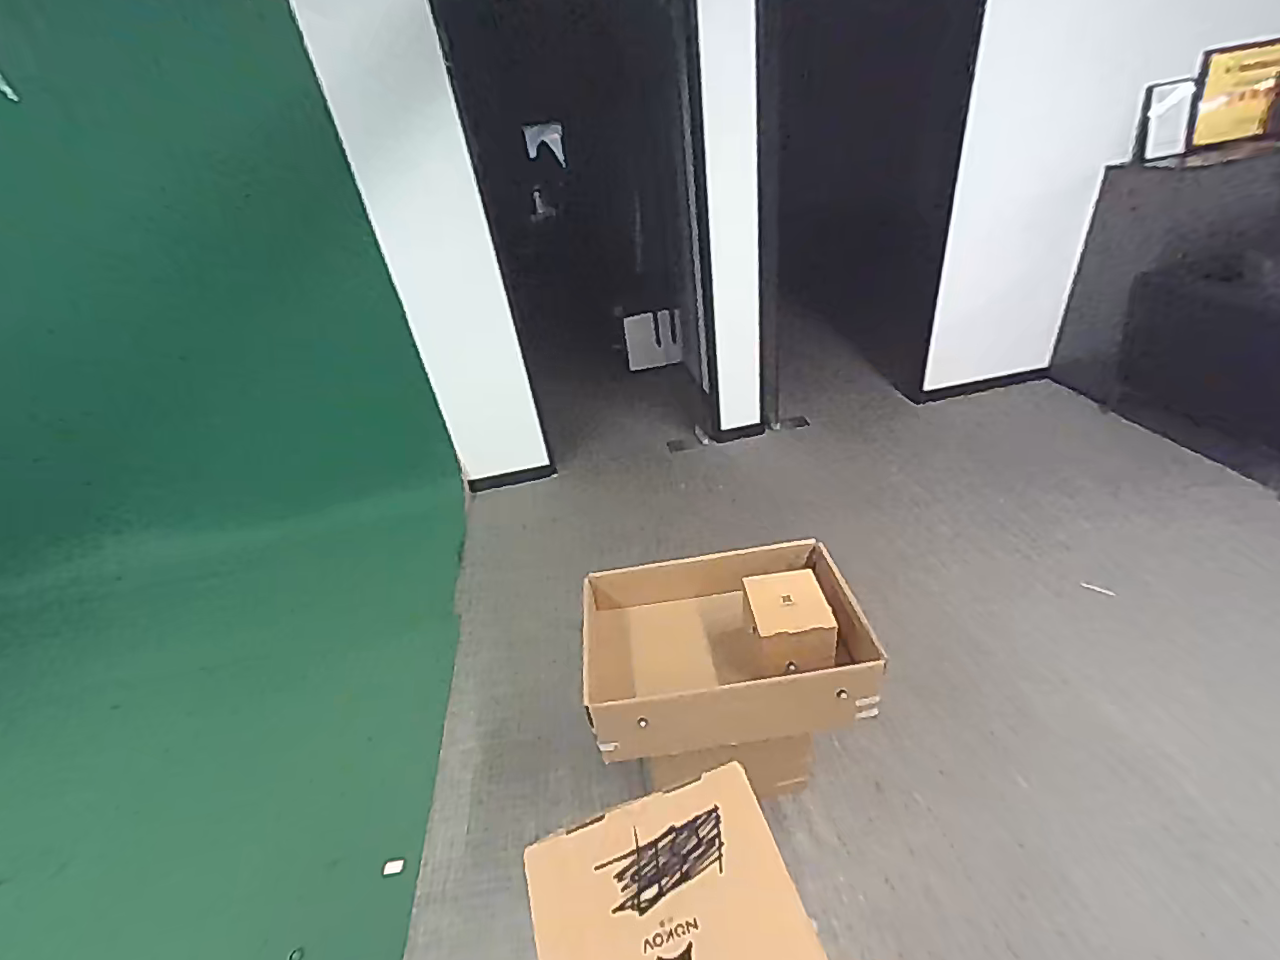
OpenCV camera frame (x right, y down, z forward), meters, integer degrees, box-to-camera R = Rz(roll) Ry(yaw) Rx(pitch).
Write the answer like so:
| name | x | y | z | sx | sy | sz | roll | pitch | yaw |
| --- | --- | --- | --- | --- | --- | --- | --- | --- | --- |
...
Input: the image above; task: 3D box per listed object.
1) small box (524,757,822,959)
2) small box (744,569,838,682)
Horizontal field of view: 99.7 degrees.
| name | x | y | z | sx | sy | sz | roll | pitch | yaw |
| --- | --- | --- | --- | --- | --- | --- | --- | --- | --- |
| small box | 0.029 | 0.340 | 0.383 | 0.168 | 0.176 | 0.179 | -19 | 43 | -7 |
| small box | 0.337 | 0.332 | 1.240 | 0.168 | 0.176 | 0.179 | -9 | 34 | 1 |
